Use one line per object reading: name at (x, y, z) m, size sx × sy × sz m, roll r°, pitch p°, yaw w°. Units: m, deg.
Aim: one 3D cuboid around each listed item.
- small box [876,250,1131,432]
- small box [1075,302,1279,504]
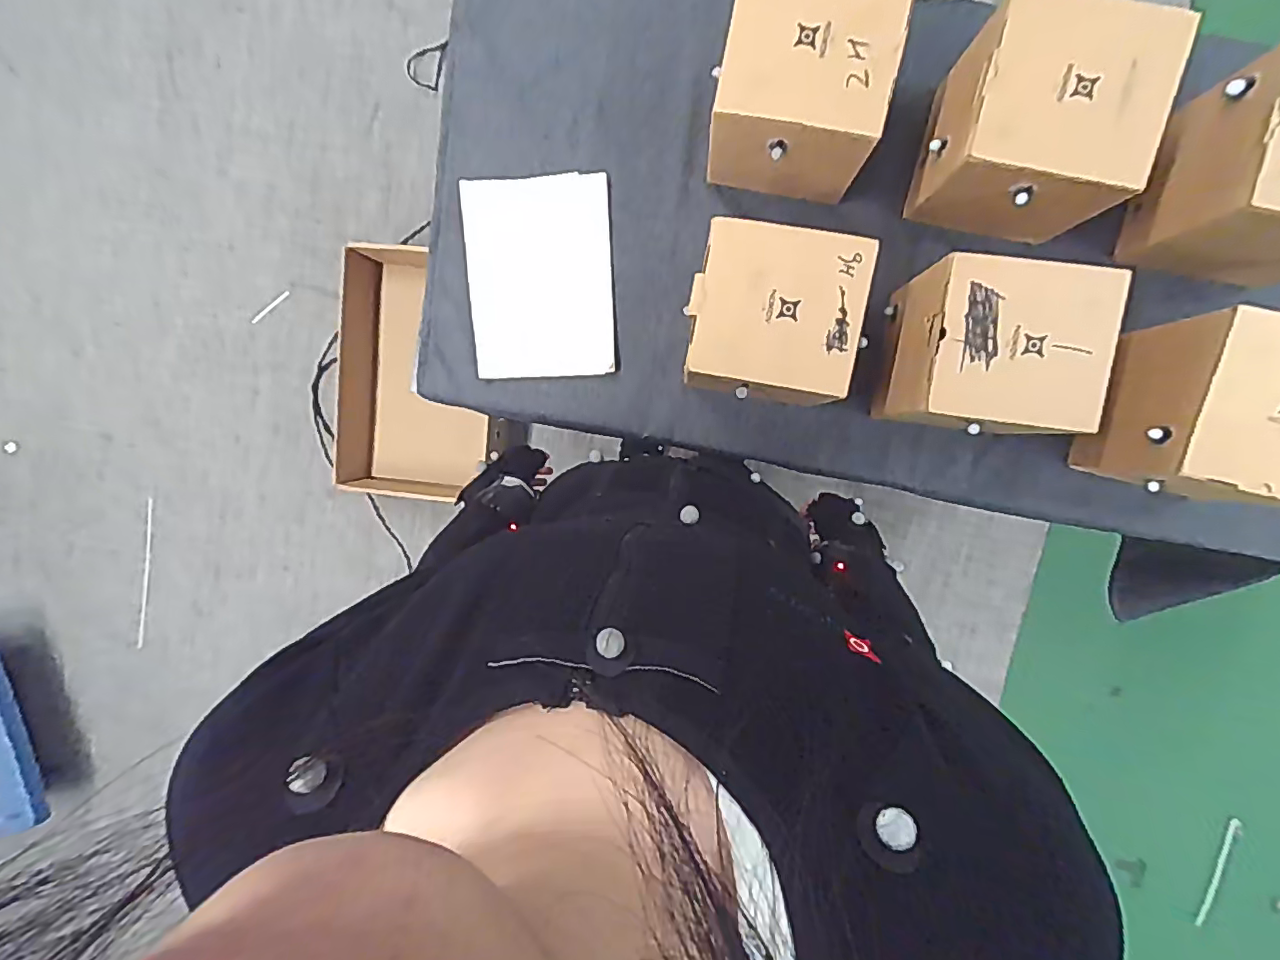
small box at (0.396, -0.147, 0.625) m, size 0.179 × 0.176 × 0.168 m, roll 8°, pitch 95°, yaw 3°
small box at (0.649, -0.079, 0.613) m, size 0.168 × 0.176 × 0.179 m, roll 14°, pitch 96°, yaw 3°
